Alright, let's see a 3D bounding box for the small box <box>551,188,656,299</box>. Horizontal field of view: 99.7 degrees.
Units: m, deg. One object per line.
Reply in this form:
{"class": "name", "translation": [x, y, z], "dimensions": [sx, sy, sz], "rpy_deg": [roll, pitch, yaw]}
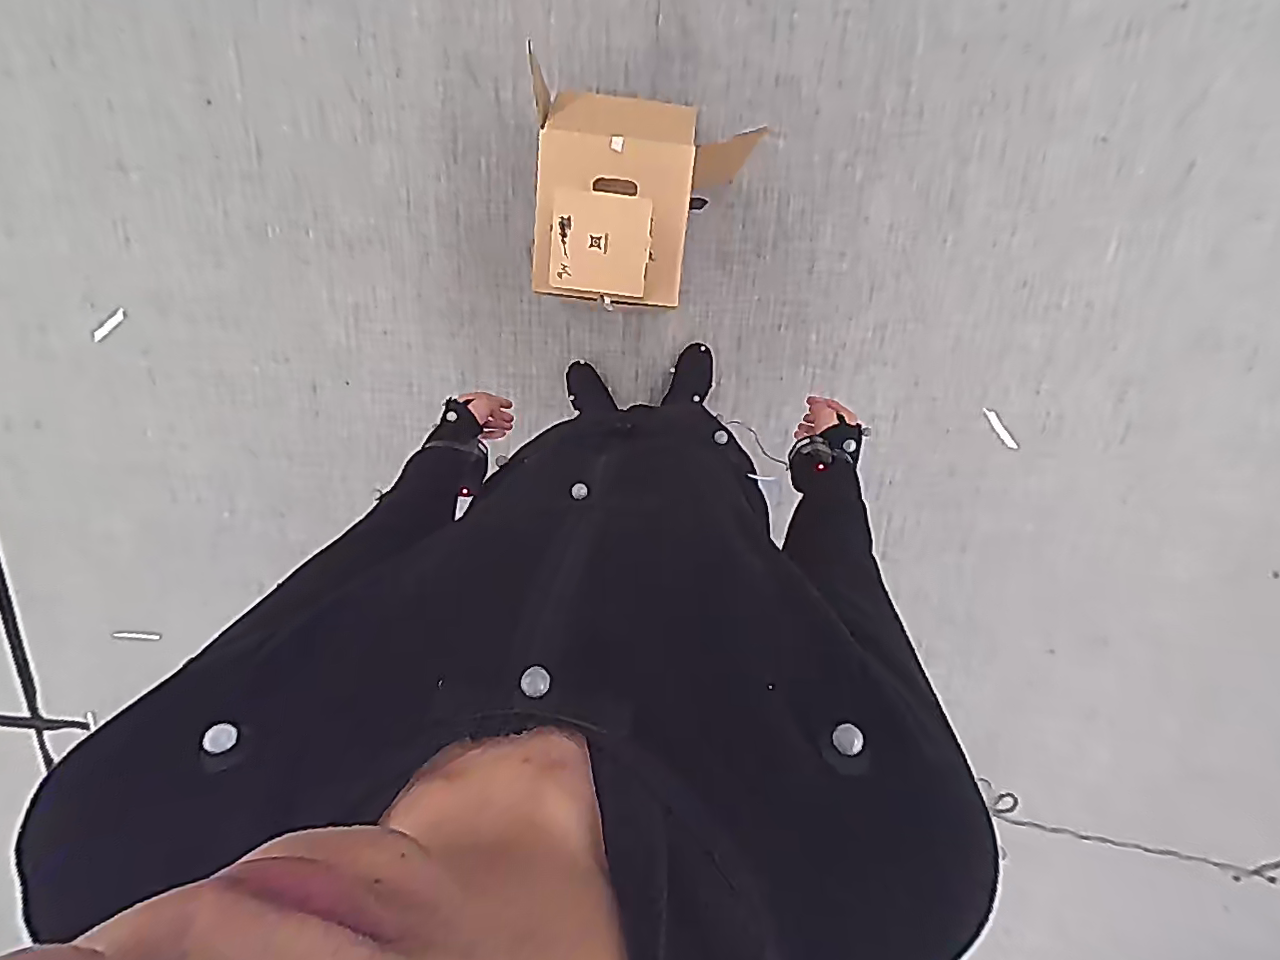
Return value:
{"class": "small box", "translation": [-0.067, -0.447, 1.045], "dimensions": [0.179, 0.176, 0.168], "rpy_deg": [7, 107, -2]}
